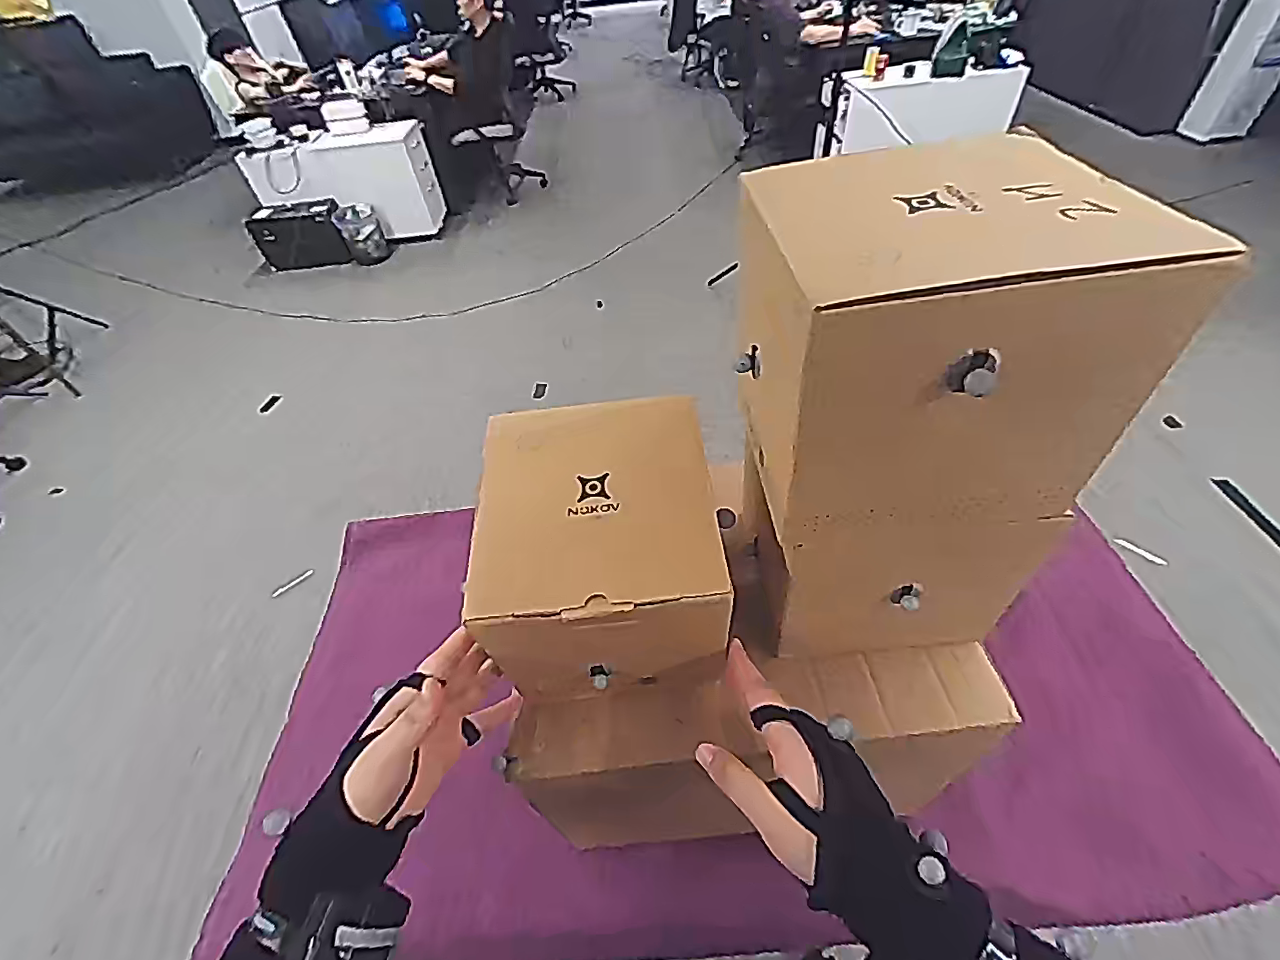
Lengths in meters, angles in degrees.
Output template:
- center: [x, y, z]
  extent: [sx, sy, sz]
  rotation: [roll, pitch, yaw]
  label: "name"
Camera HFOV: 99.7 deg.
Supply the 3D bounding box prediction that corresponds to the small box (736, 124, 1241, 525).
- center: [0.158, -0.088, 0.328]
  extent: [0.179, 0.176, 0.168]
  rotation: [-7, 47, 2]
  label: "small box"
